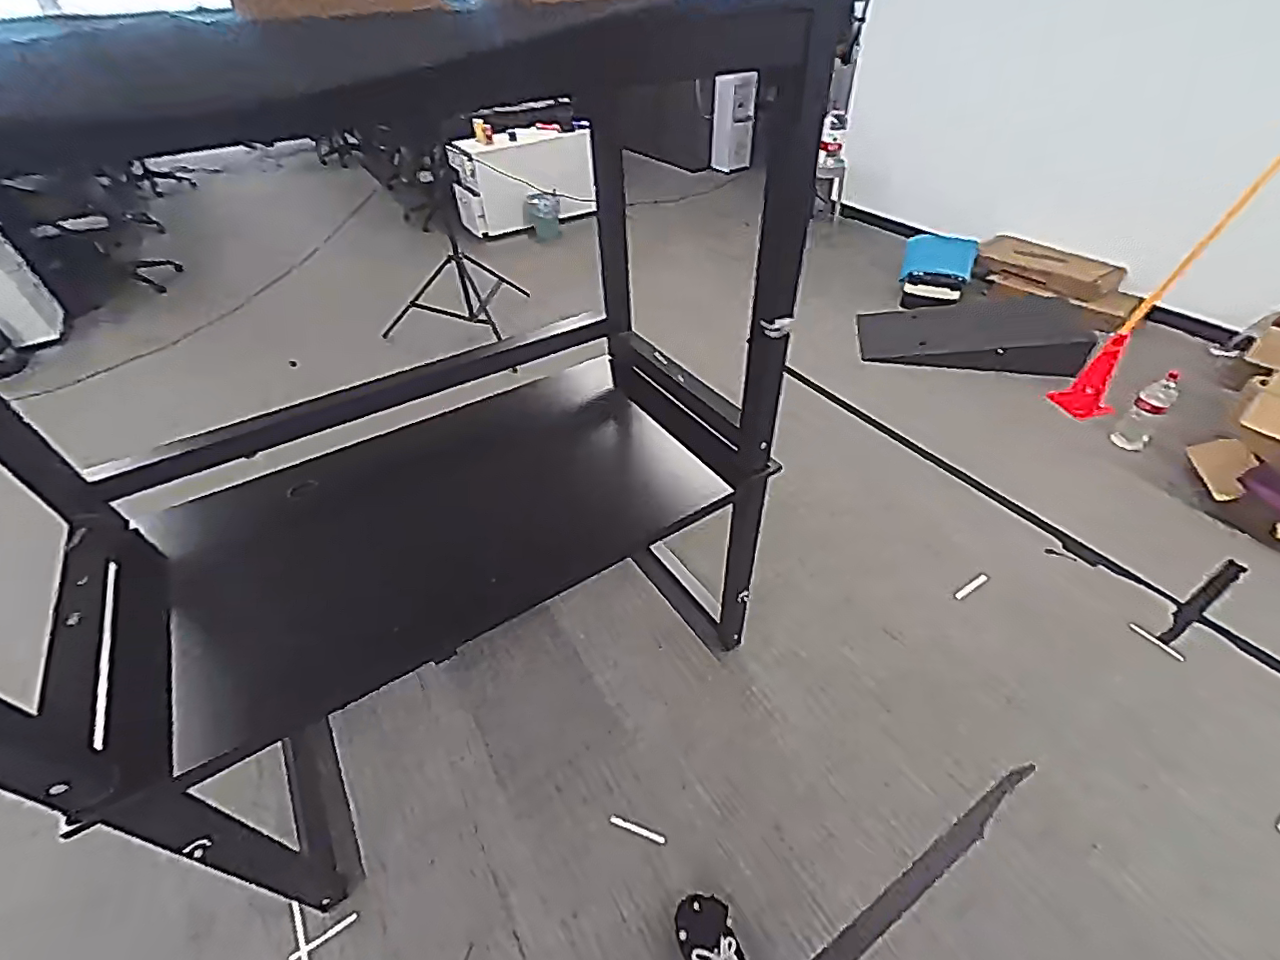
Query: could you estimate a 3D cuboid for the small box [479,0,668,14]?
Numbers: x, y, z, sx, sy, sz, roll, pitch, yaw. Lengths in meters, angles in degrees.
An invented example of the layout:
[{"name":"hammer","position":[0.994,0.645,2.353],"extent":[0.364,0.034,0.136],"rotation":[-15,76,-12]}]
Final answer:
[{"name":"small box","position":[-0.077,-0.574,0.532],"extent":[0.168,0.176,0.179],"rotation":[-25,47,-20]}]
